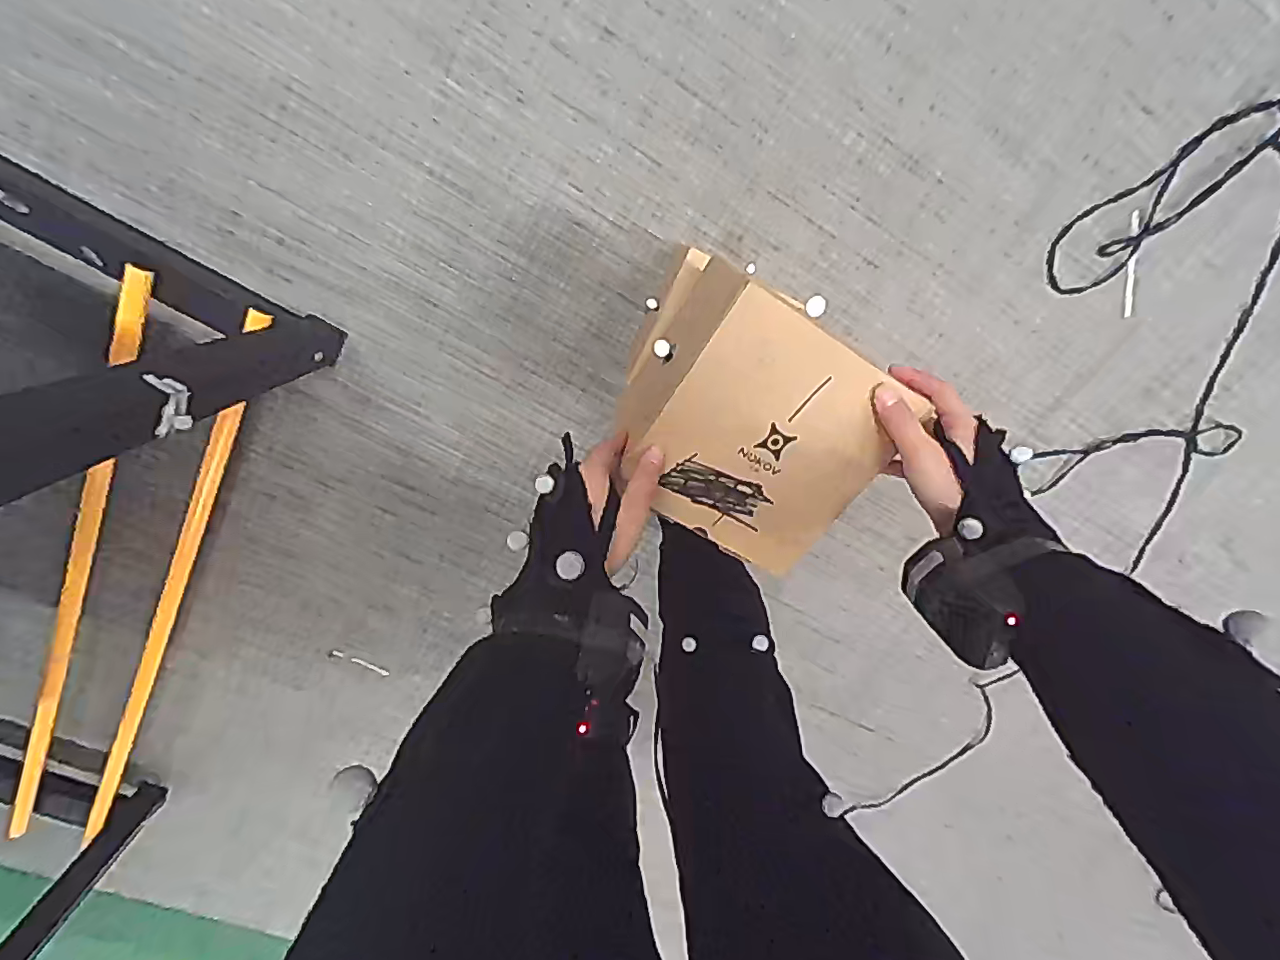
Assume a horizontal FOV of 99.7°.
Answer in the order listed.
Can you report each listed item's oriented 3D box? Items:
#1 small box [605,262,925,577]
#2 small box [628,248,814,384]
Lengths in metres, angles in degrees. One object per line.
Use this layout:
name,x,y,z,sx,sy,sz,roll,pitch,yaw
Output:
small box,0.087,-0.058,0.459,0.168,0.176,0.179,29,113,-15
small box,0.091,-0.183,0.708,0.168,0.176,0.179,24,111,-10
